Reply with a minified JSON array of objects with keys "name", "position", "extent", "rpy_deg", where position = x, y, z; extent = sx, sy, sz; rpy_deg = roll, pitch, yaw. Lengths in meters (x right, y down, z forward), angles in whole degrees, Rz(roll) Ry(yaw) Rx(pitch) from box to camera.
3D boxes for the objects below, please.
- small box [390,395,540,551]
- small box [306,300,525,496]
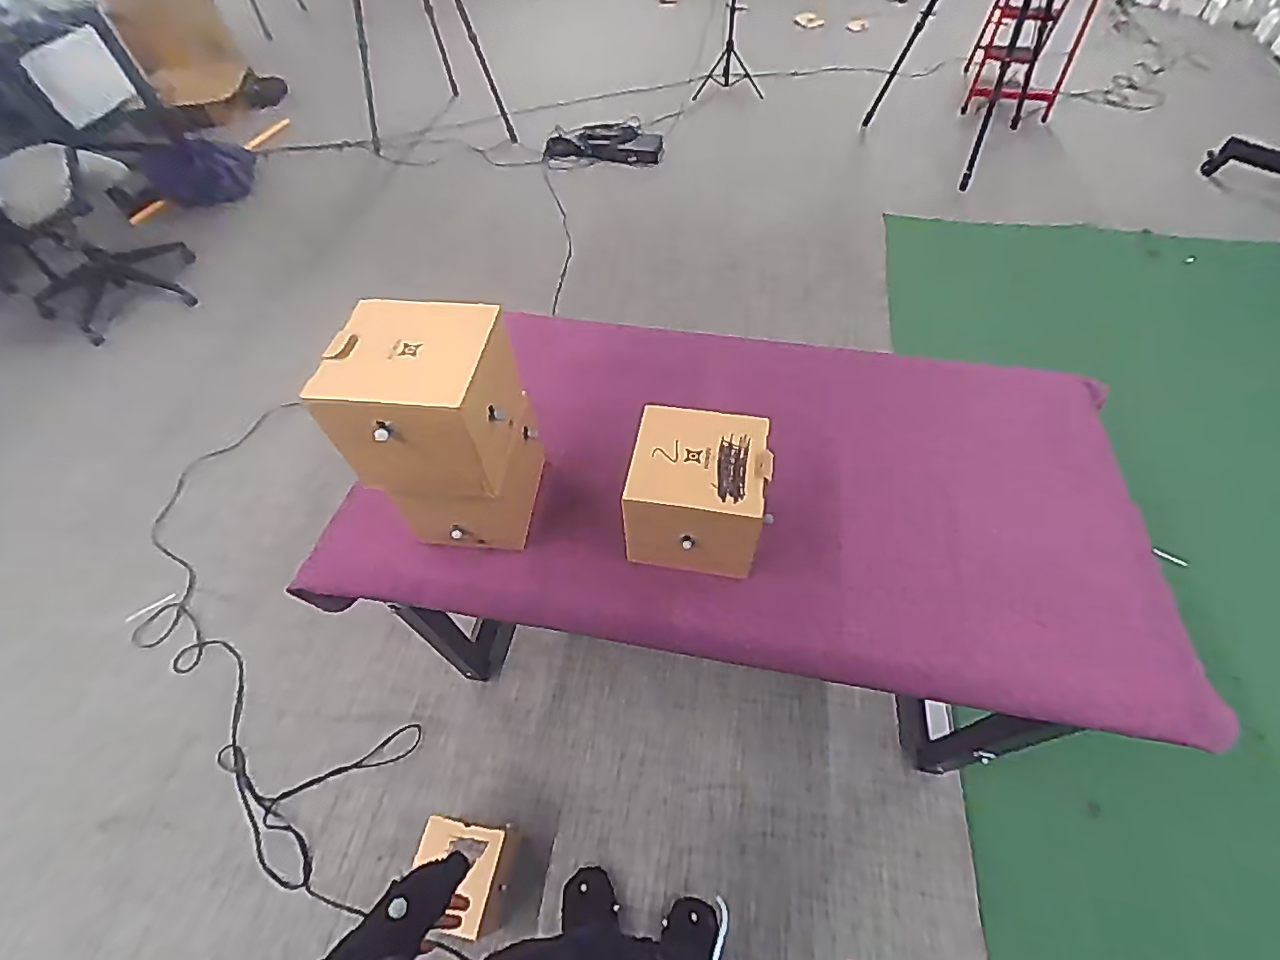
[{"name":"small box","position":[-0.252,-0.015,0.808],"extent":[0.168,0.176,0.179],"rpy_deg":[5,55,4]},{"name":"small box","position":[-0.252,-0.095,0.665],"extent":[0.179,0.176,0.168],"rpy_deg":[5,55,4]}]
